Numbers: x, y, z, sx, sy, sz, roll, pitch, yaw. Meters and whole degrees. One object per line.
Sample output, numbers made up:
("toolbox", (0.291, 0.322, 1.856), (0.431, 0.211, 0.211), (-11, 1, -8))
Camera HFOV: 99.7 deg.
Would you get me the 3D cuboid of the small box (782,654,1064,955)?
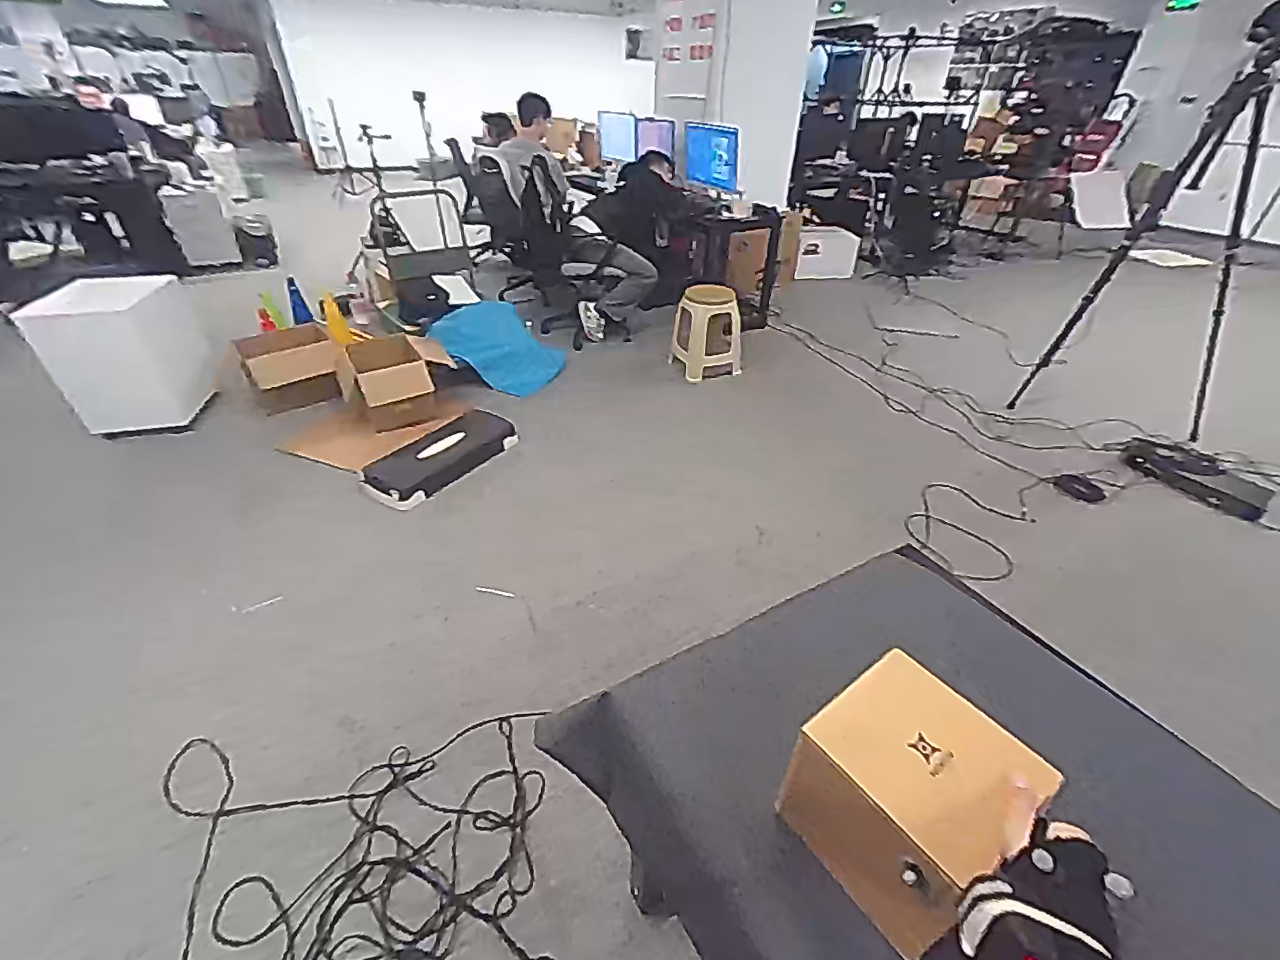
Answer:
("small box", (0.272, 0.326, 0.558), (0.168, 0.176, 0.179), (-22, 43, -30))
